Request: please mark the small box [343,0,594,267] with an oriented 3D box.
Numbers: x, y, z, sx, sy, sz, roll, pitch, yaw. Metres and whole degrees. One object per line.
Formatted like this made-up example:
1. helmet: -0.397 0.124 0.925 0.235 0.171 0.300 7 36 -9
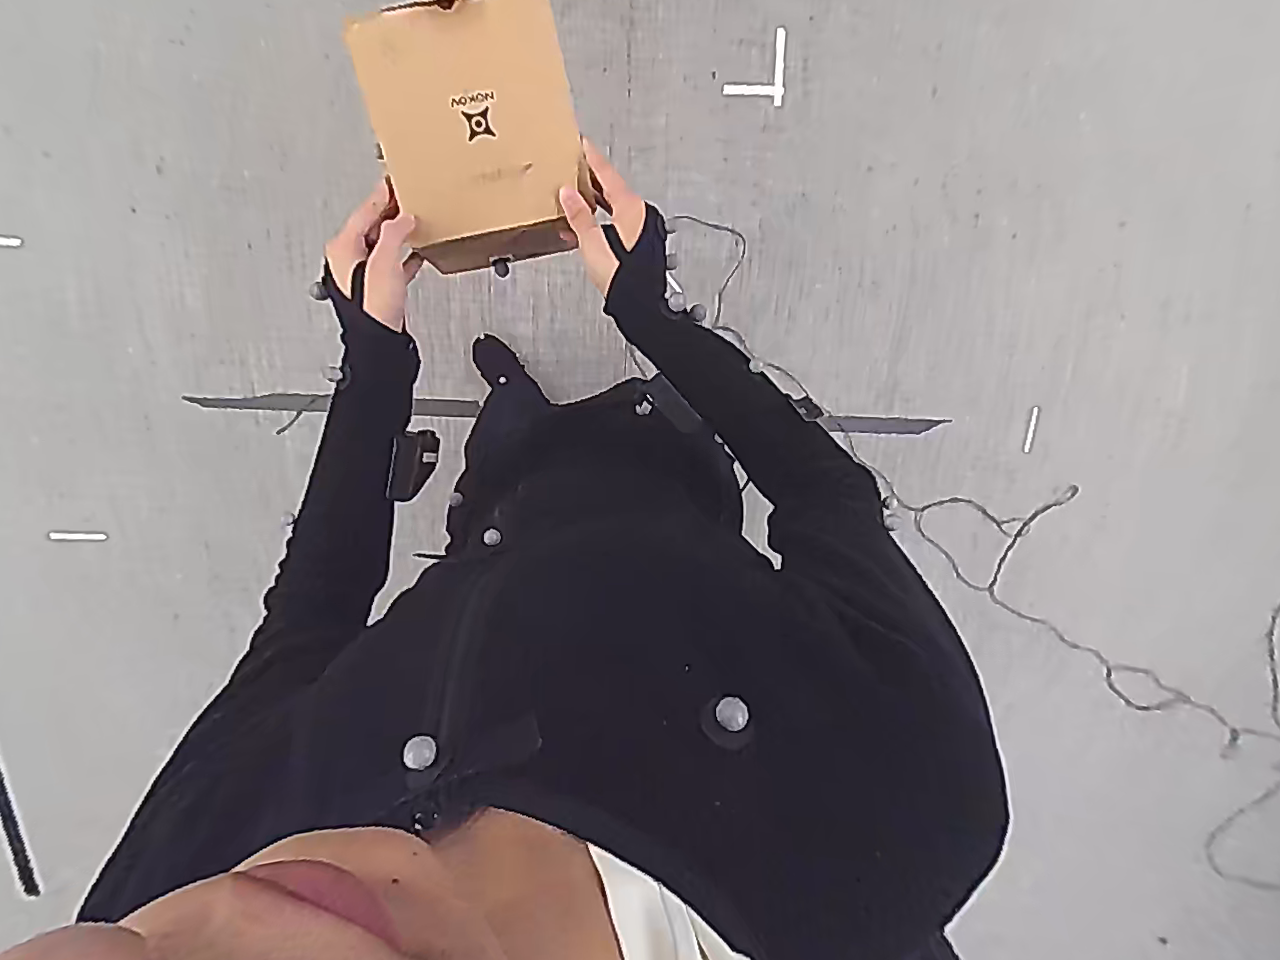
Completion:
1. small box: -0.149 -0.323 0.521 0.168 0.176 0.179 -14 104 -6
